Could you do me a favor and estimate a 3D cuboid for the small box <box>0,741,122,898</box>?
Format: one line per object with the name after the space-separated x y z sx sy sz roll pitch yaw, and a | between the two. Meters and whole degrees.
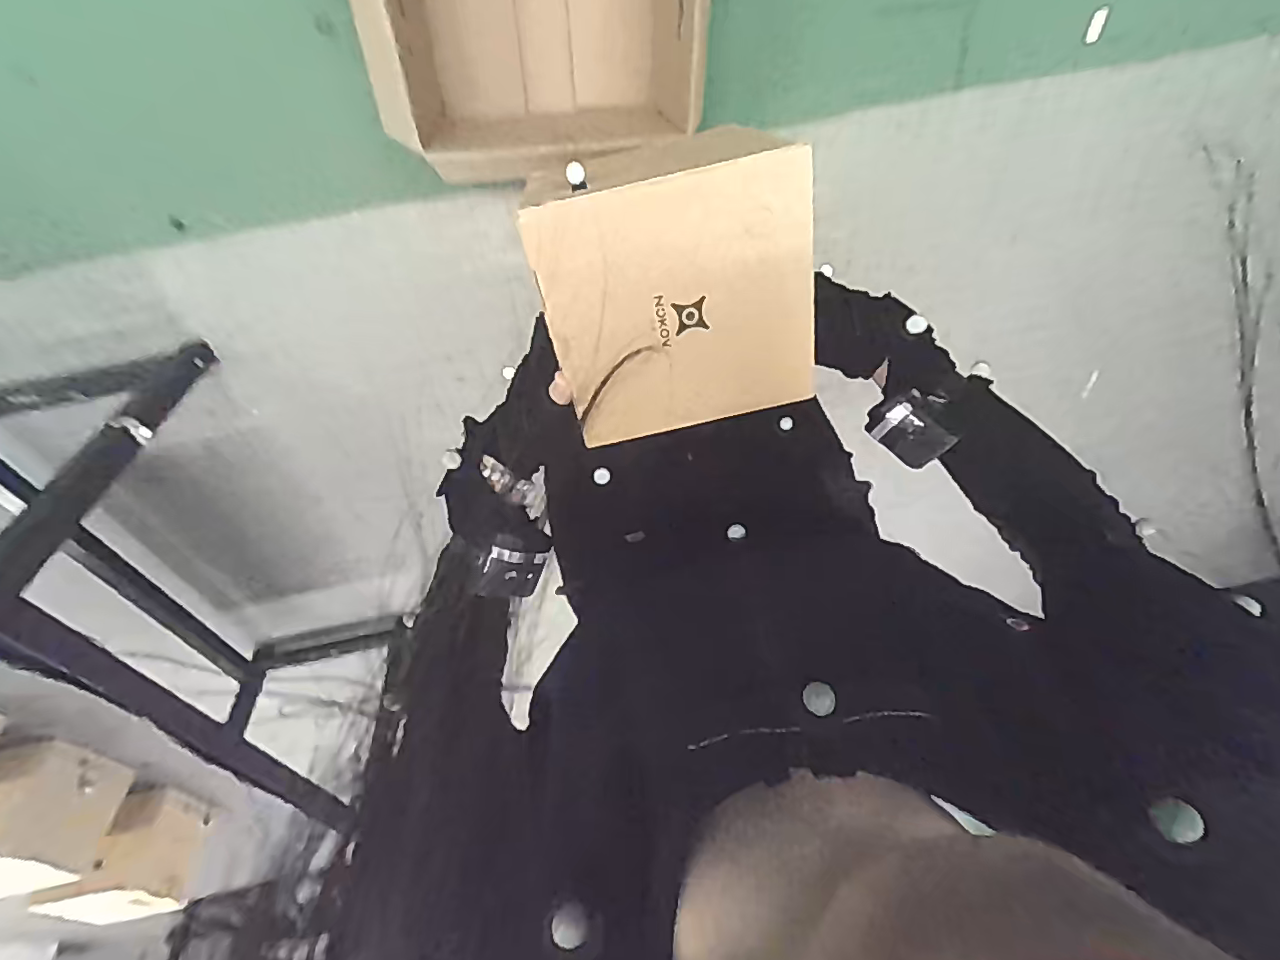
-1.017 0.548 0.871 0.179 0.176 0.168 -12 133 -1 | small box

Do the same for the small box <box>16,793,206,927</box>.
-0.985 0.723 1.036 0.179 0.176 0.168 -10 132 -2 | small box

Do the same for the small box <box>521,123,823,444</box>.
0.021 -0.154 0.410 0.179 0.176 0.168 -12 127 2 | small box
